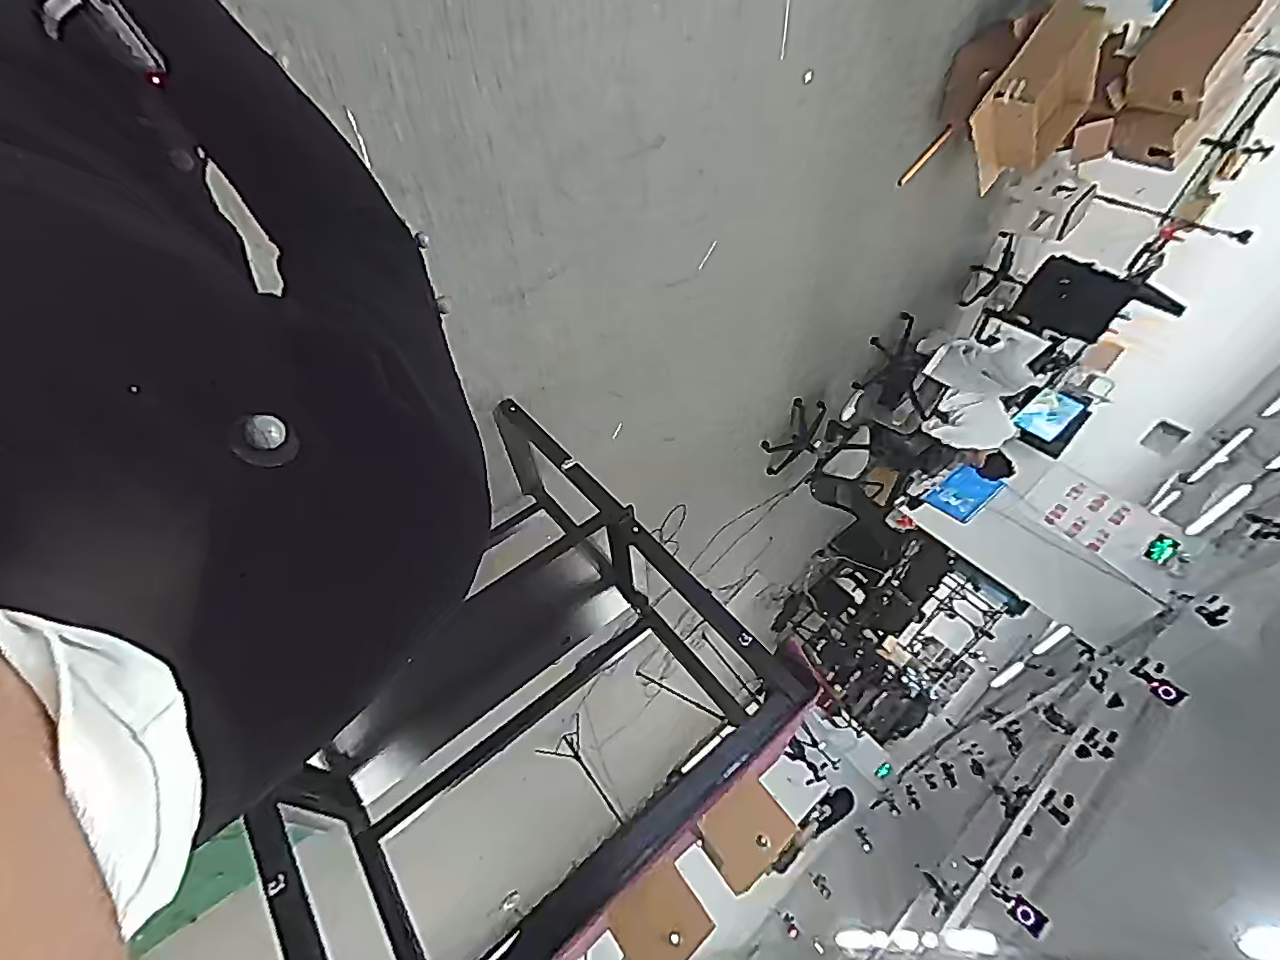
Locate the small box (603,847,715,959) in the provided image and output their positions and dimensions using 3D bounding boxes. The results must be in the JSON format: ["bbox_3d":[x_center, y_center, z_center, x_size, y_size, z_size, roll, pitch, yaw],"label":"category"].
[{"bbox_3d":[0.034,0.920,1.136,0.179,0.176,0.168,-35,148,-22],"label":"small box"}]

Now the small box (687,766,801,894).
[{"bbox_3d":[0.231,0.793,1.233,0.179,0.176,0.168,-31,146,-24],"label":"small box"}]
